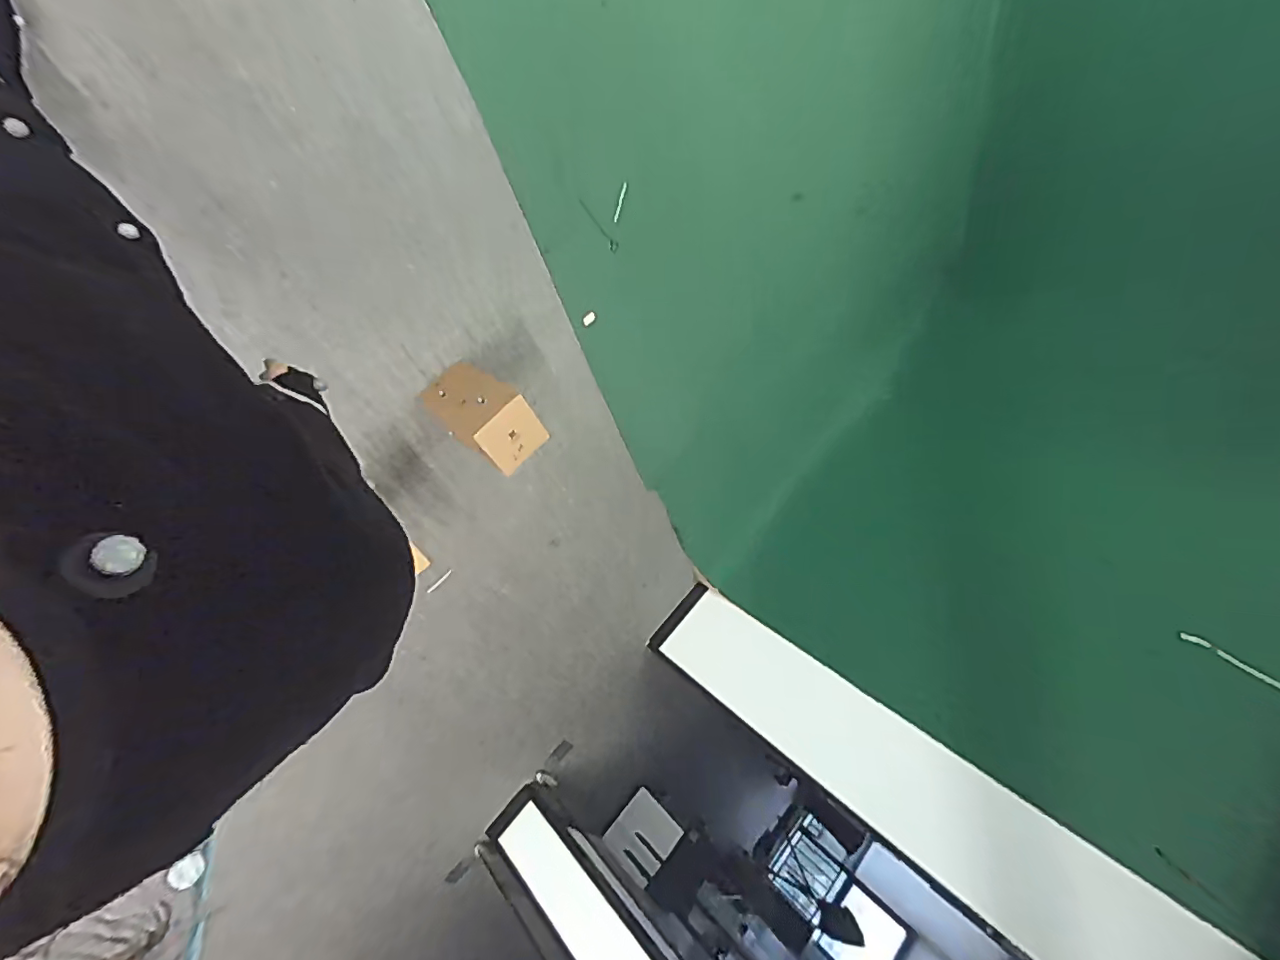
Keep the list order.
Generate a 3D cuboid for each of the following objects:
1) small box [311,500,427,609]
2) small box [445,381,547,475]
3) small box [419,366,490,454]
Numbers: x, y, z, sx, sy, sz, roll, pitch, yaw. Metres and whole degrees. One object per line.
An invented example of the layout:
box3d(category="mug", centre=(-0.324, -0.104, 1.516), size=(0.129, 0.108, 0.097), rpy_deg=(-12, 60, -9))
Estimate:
box3d(category="small box", centre=(-0.687, 0.182, 1.371), size=(0.179, 0.176, 0.168), rpy_deg=(-42, 139, -20))
box3d(category="small box", centre=(-0.395, -0.149, 1.474), size=(0.168, 0.176, 0.179), rpy_deg=(-46, 140, -15))
box3d(category="small box", centre=(-0.506, -0.212, 1.577), size=(0.168, 0.176, 0.179), rpy_deg=(-45, 140, -16))
